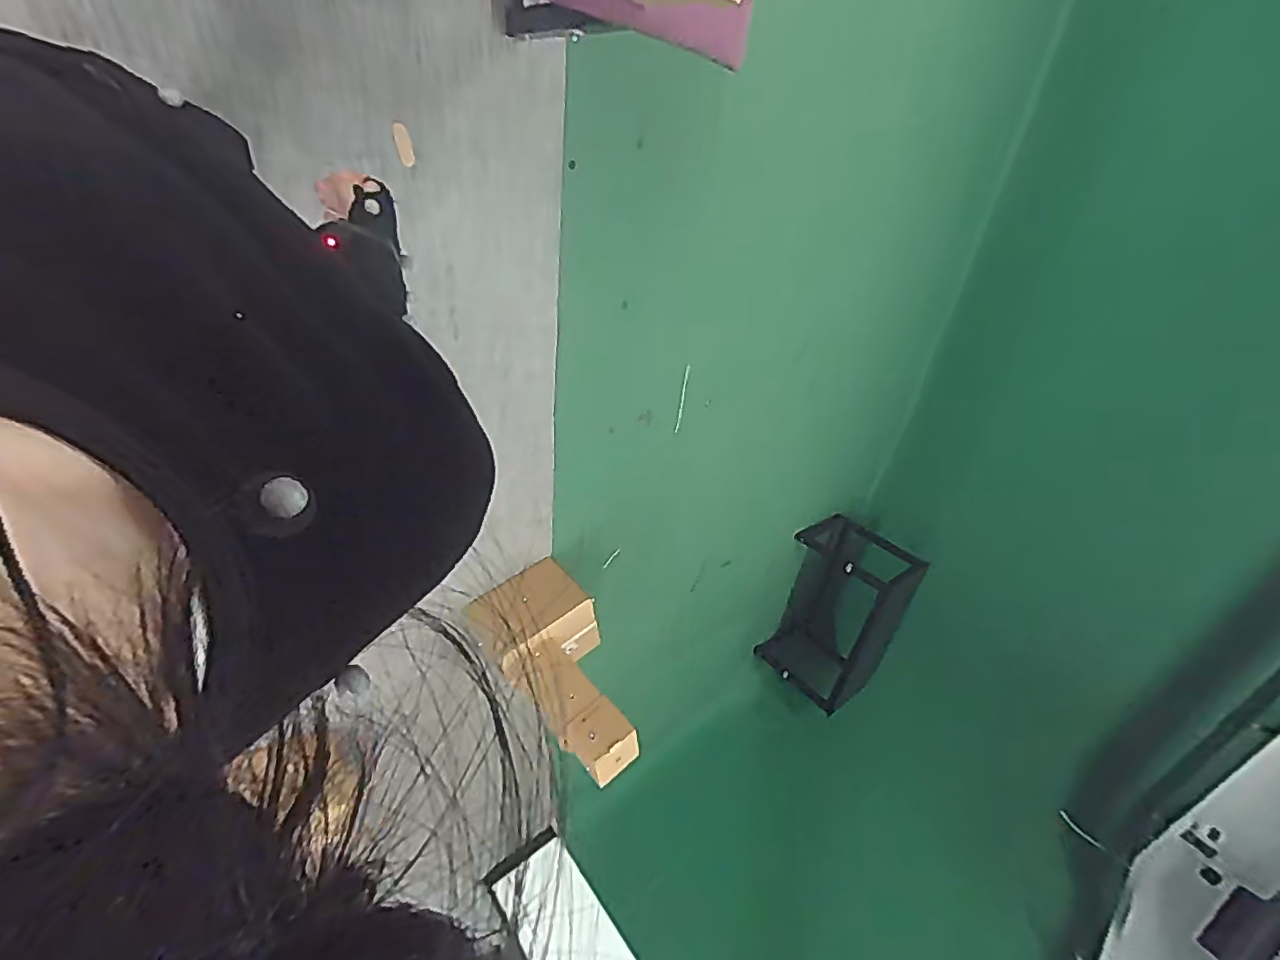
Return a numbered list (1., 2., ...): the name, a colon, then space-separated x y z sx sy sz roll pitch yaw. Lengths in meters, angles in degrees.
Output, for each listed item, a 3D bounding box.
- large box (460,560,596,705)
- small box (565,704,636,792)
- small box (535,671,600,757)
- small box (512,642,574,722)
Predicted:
1. large box: -0.446 0.604 2.188 0.408 0.320 0.320 -32 137 -28
2. small box: -0.133 0.877 1.787 0.168 0.176 0.179 -30 135 -29
3. small box: -0.248 0.810 1.882 0.179 0.176 0.168 -32 136 -29
4. small box: -0.354 0.738 1.985 0.179 0.176 0.168 -27 134 -30
